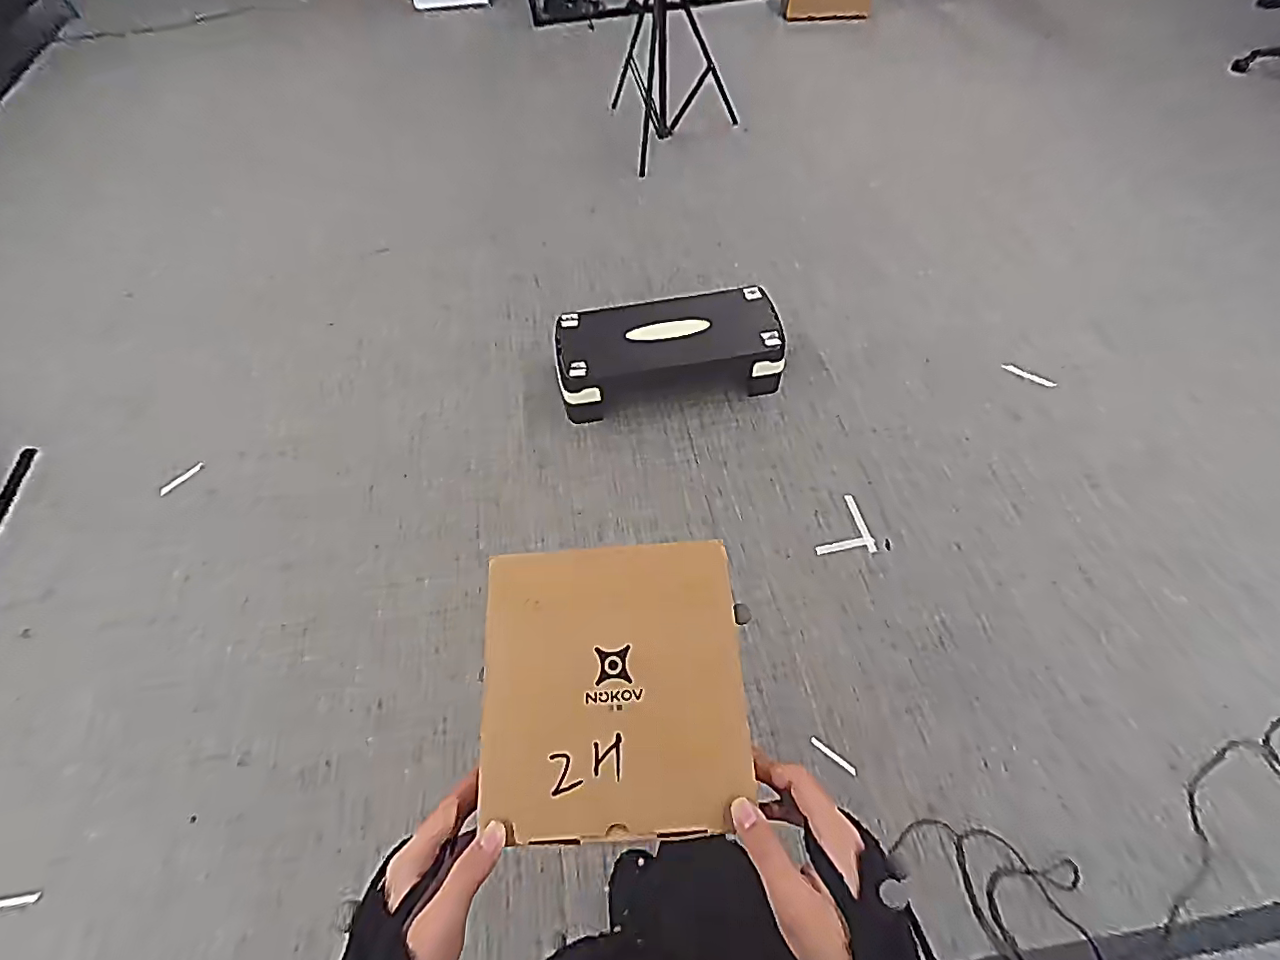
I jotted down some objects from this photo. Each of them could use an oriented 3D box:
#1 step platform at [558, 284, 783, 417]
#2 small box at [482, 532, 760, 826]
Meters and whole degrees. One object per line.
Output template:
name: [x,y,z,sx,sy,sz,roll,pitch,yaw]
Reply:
step platform: [0.089,-0.408,1.685,0.684,0.204,0.286,-10,59,-2]
small box: [-0.012,0.152,0.421,0.168,0.176,0.179,-4,66,1]
